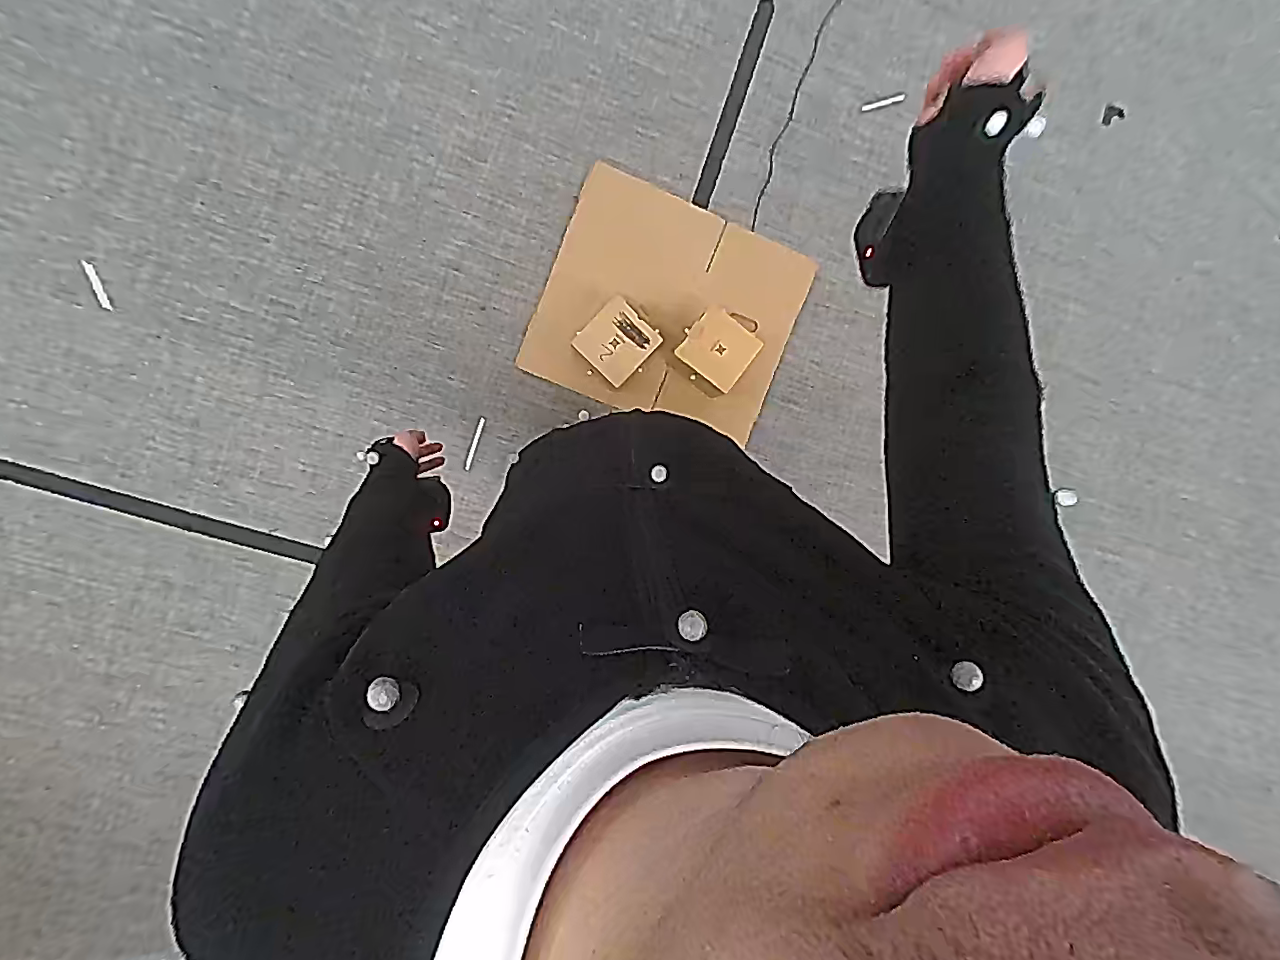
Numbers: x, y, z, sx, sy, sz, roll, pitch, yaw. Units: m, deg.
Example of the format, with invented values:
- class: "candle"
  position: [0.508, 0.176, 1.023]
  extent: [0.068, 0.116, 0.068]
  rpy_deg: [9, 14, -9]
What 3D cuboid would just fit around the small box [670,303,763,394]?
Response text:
- class: "small box"
  position: [0.203, -0.351, 1.482]
  extent: [0.179, 0.176, 0.168]
  rpy_deg: [37, 91, -5]
